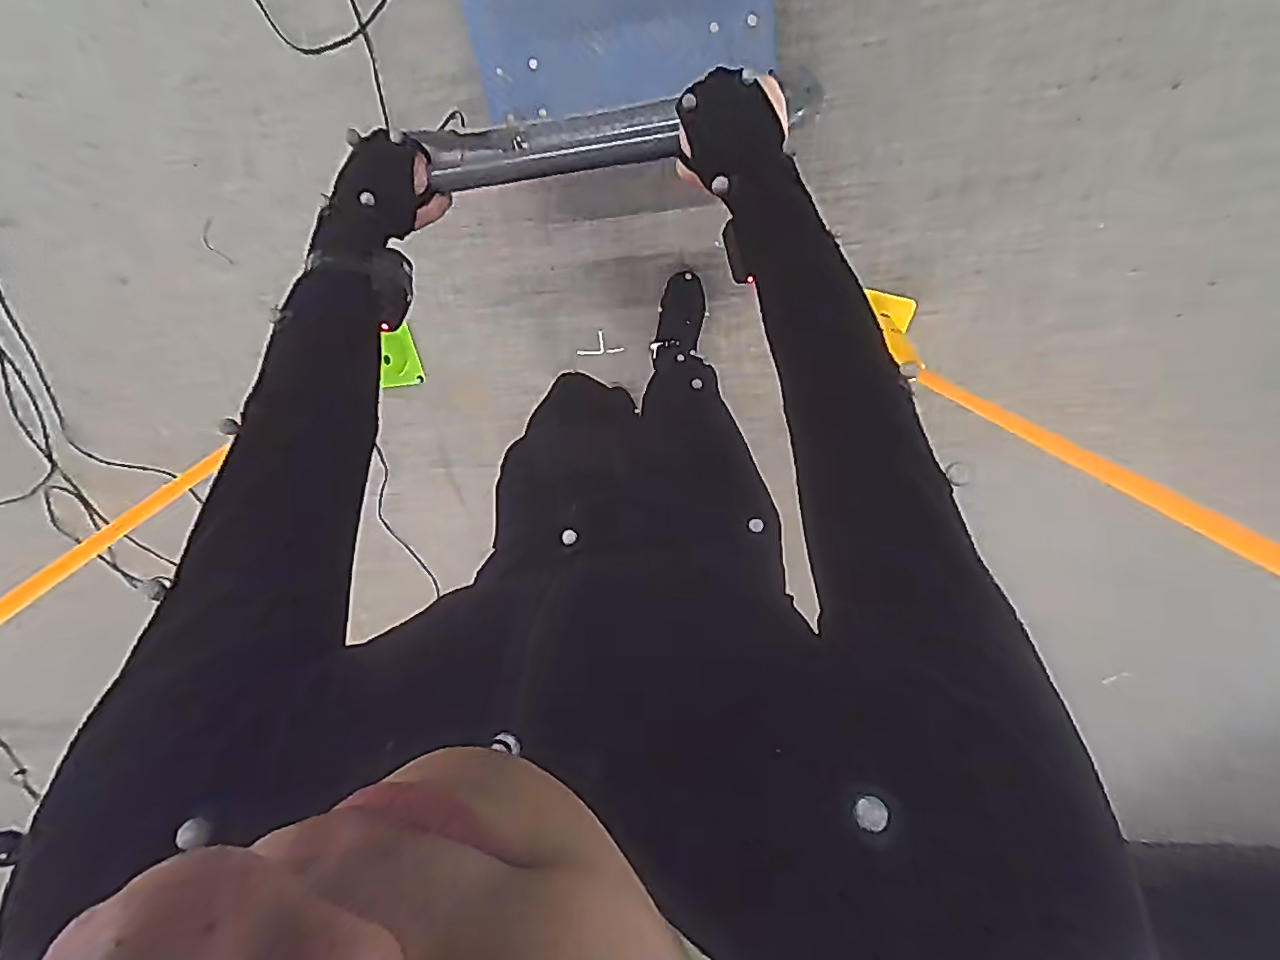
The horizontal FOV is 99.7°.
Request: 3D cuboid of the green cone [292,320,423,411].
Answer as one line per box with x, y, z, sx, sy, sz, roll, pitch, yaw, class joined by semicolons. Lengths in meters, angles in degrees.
-0.756;-0.267;1.395;0.202;0.368;0.200;-5;118;10;green cone
